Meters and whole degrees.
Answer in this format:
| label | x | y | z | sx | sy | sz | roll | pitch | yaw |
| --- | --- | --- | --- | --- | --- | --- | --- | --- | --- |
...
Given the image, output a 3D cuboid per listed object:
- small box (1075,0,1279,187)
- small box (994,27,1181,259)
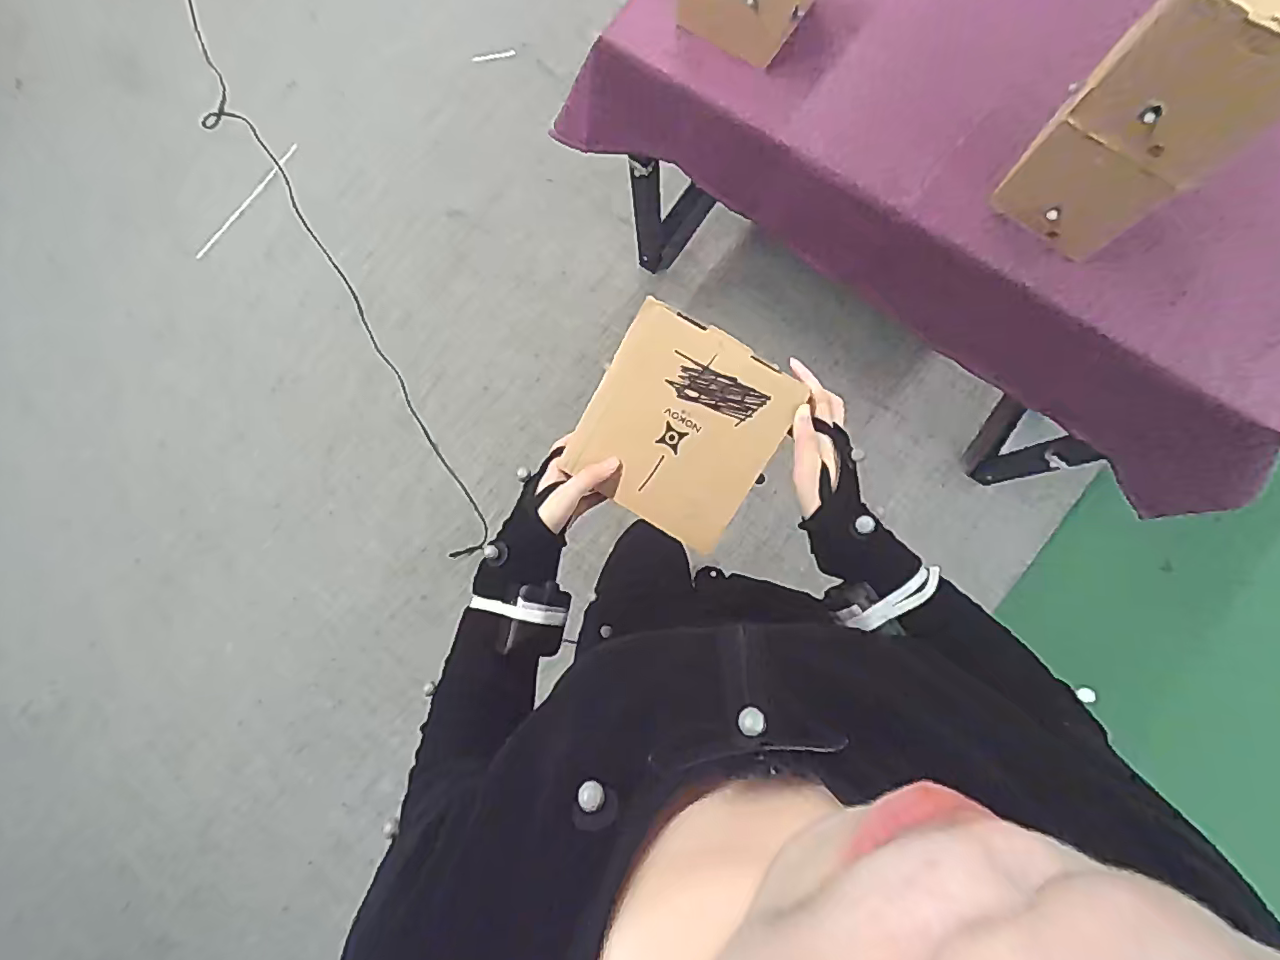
| label | x | y | z | sx | sy | sz | roll | pitch | yaw |
| --- | --- | --- | --- | --- | --- | --- | --- | --- | --- |
| small box | 0.638 | -0.473 | 0.587 | 0.168 | 0.176 | 0.179 | 38 | 87 | 7 |
| small box | 0.643 | -0.453 | 0.749 | 0.168 | 0.176 | 0.179 | 38 | 86 | 7 |
